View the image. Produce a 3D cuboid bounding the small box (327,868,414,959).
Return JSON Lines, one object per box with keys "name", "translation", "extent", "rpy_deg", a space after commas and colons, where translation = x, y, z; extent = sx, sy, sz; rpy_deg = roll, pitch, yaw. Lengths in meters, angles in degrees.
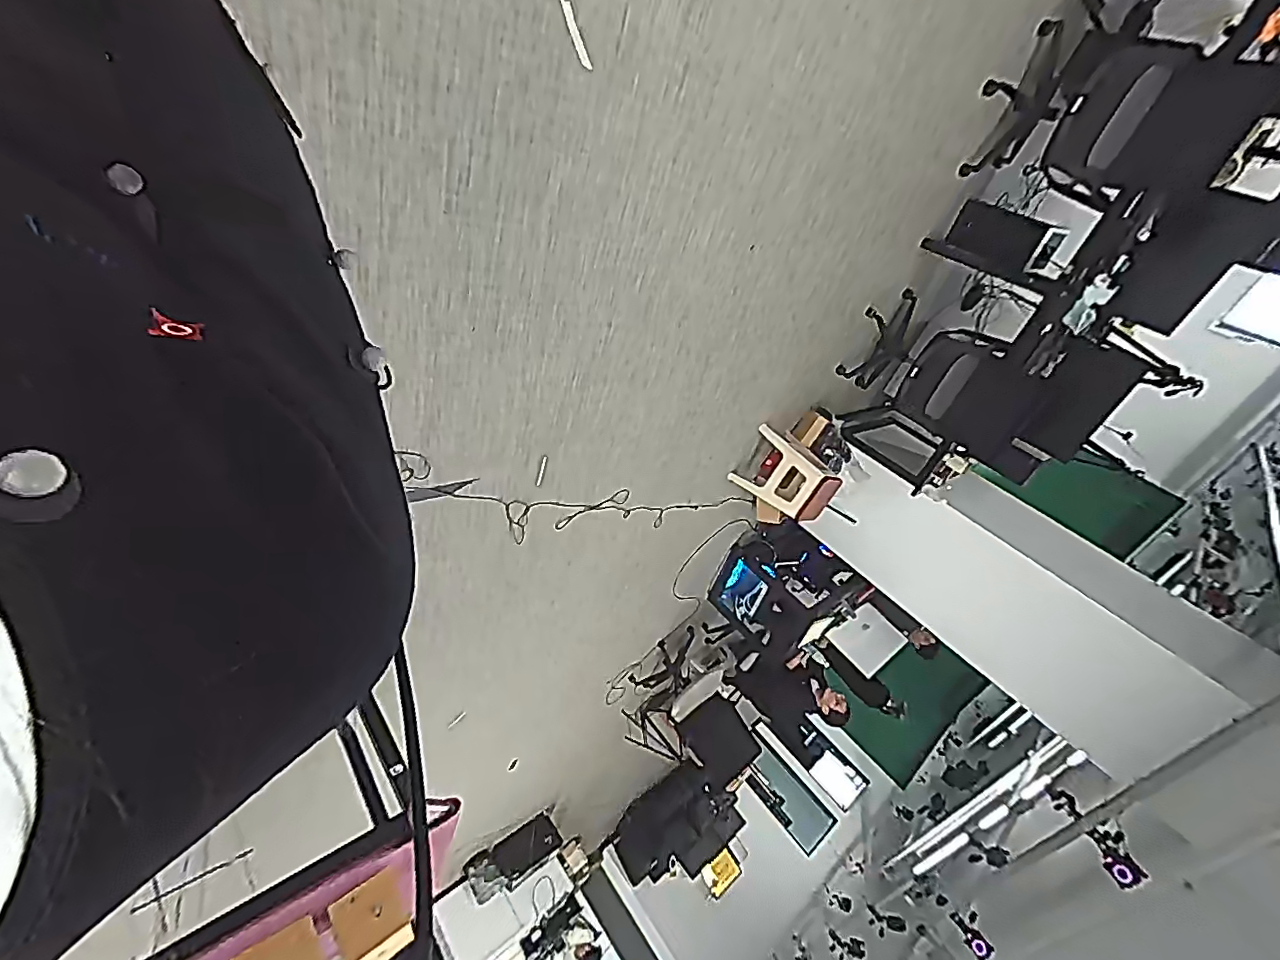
{"name": "small box", "translation": [-0.755, 1.241, 1.517], "extent": [0.168, 0.176, 0.179], "rpy_deg": [-21, 139, -36]}
